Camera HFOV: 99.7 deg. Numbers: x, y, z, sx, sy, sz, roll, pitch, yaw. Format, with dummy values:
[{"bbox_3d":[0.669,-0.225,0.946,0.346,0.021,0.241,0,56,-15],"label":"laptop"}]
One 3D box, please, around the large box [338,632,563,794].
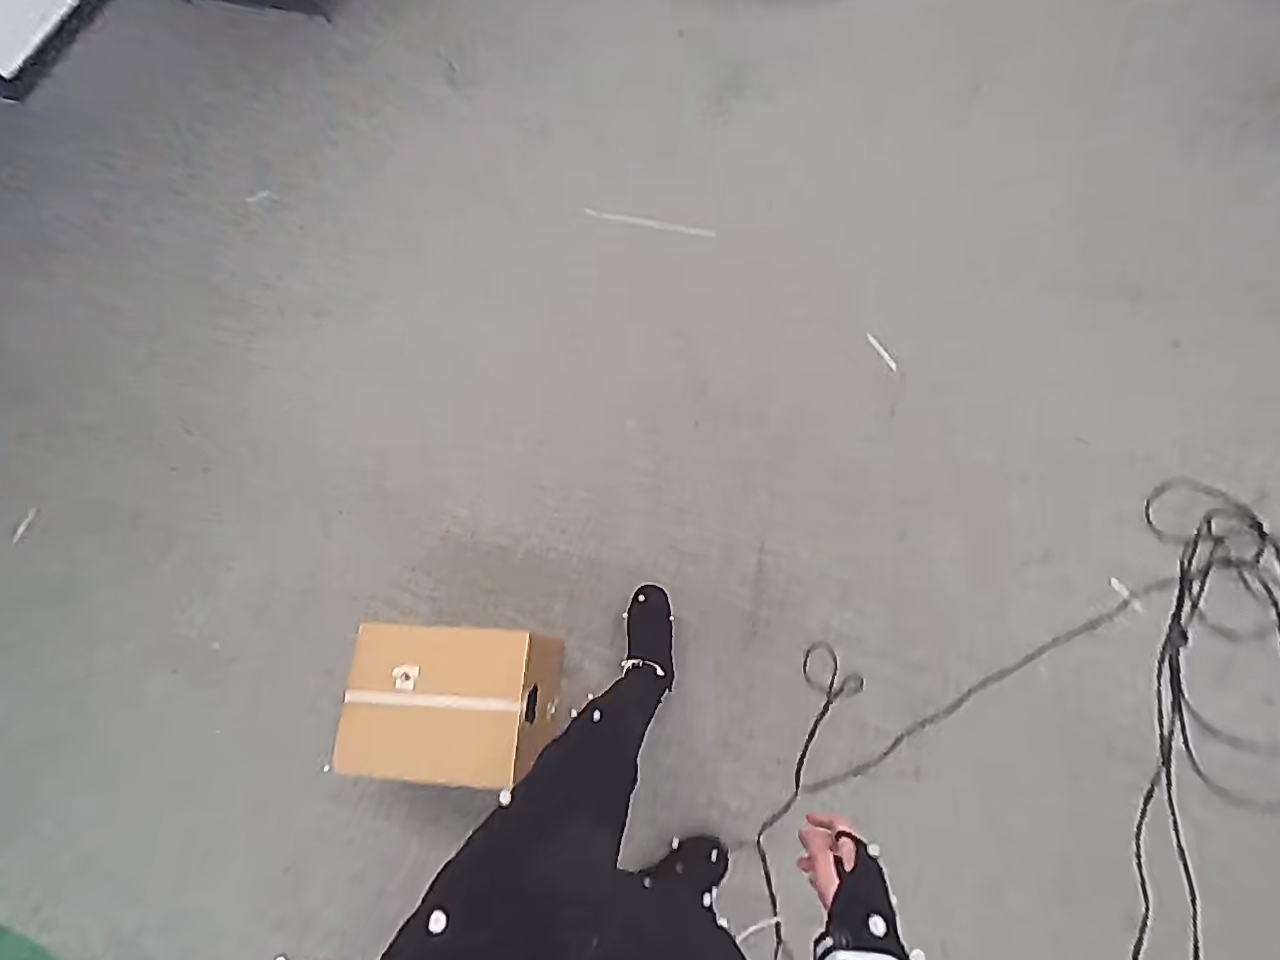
[{"bbox_3d":[-0.423,0.542,1.310,0.408,0.320,0.320,0,70,8],"label":"large box"}]
